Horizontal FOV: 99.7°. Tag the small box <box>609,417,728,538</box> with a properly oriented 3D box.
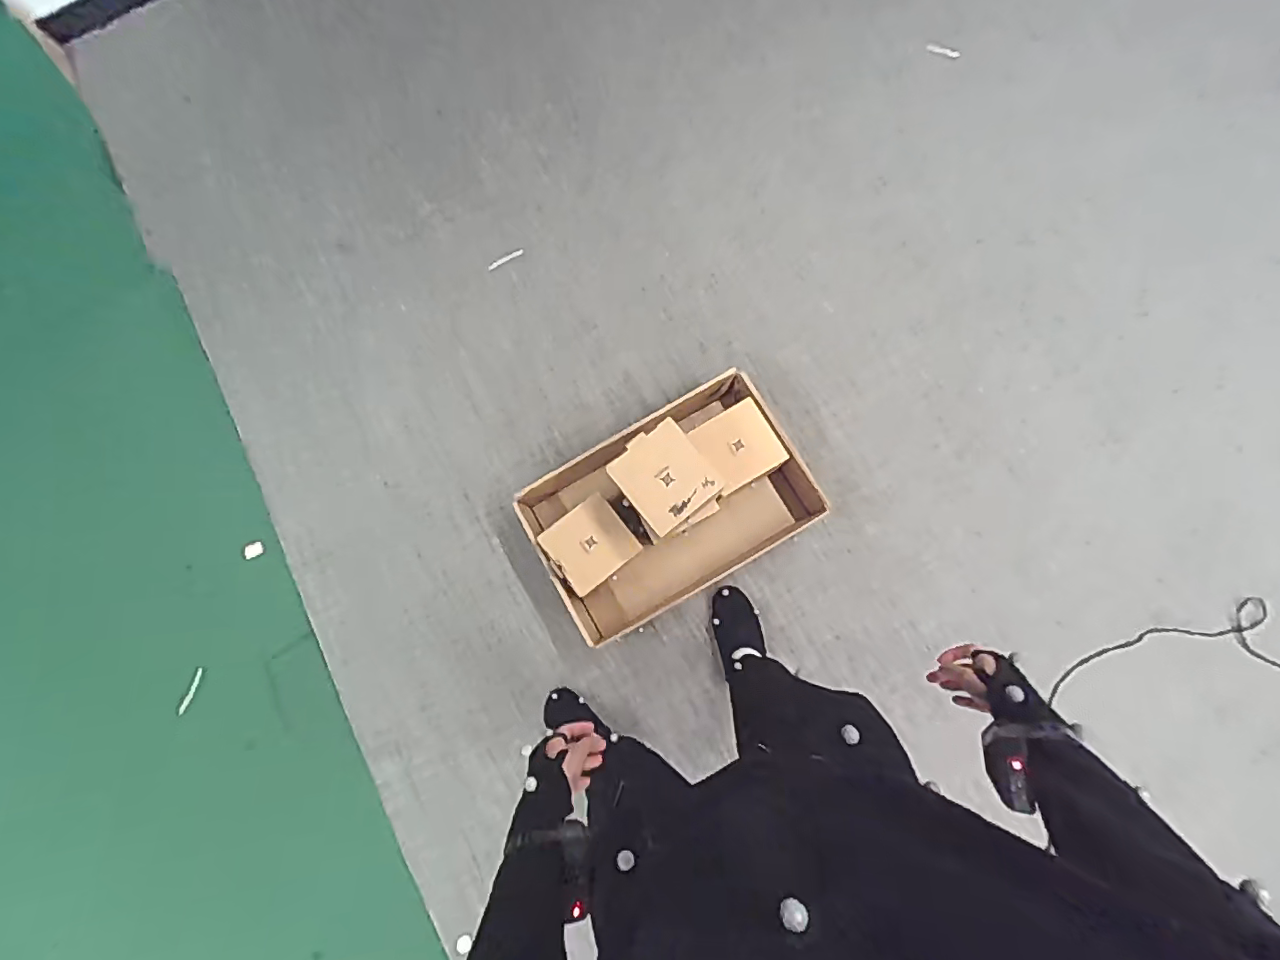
[{"bbox_3d":[0.057,0.004,1.110,0.168,0.176,0.179,-38,81,-3],"label":"small box"}]
